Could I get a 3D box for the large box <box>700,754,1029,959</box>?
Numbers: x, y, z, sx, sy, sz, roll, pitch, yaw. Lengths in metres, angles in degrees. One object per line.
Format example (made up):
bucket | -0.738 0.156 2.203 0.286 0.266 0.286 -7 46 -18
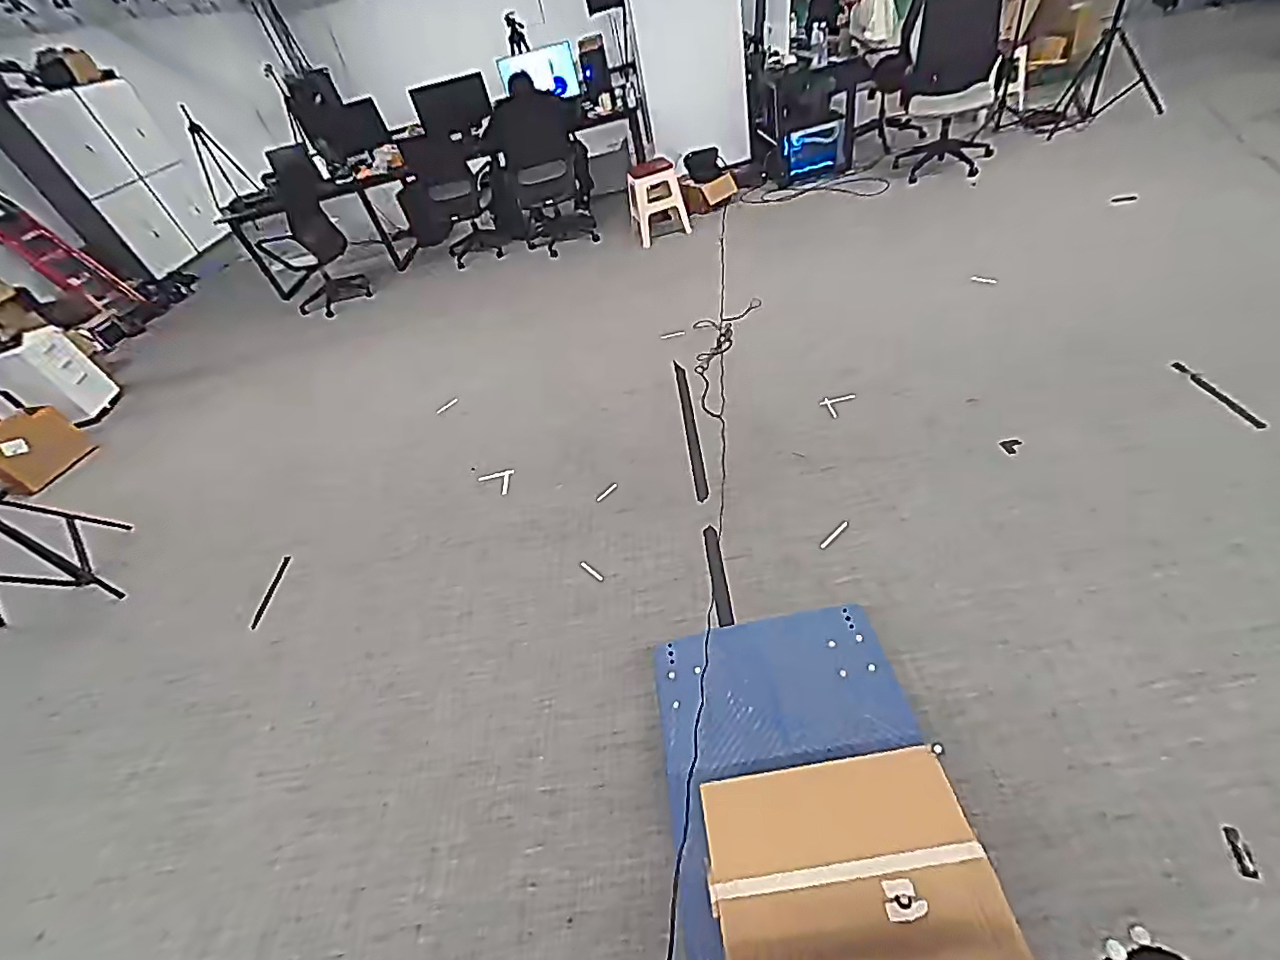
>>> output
large box | 0.340 0.712 0.906 0.408 0.320 0.320 -12 42 4
